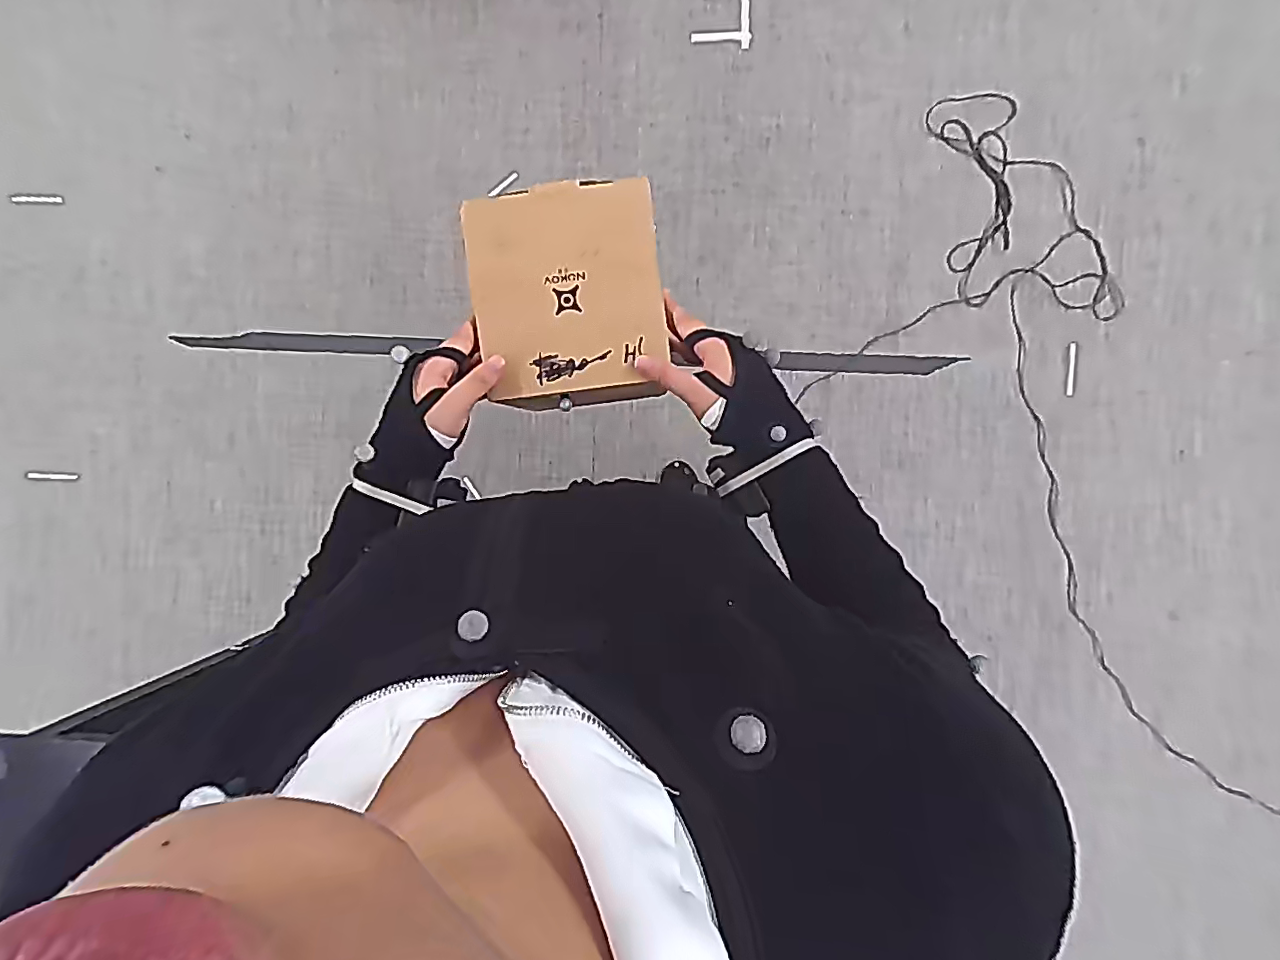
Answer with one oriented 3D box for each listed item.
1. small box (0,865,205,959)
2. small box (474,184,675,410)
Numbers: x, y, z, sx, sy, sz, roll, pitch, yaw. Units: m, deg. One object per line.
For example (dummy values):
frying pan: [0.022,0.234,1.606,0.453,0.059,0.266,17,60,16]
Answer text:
small box: [-0.750,0.675,0.748,0.179,0.176,0.168,3,92,3]
small box: [-0.058,-0.171,0.559,0.168,0.176,0.179,-6,94,2]
